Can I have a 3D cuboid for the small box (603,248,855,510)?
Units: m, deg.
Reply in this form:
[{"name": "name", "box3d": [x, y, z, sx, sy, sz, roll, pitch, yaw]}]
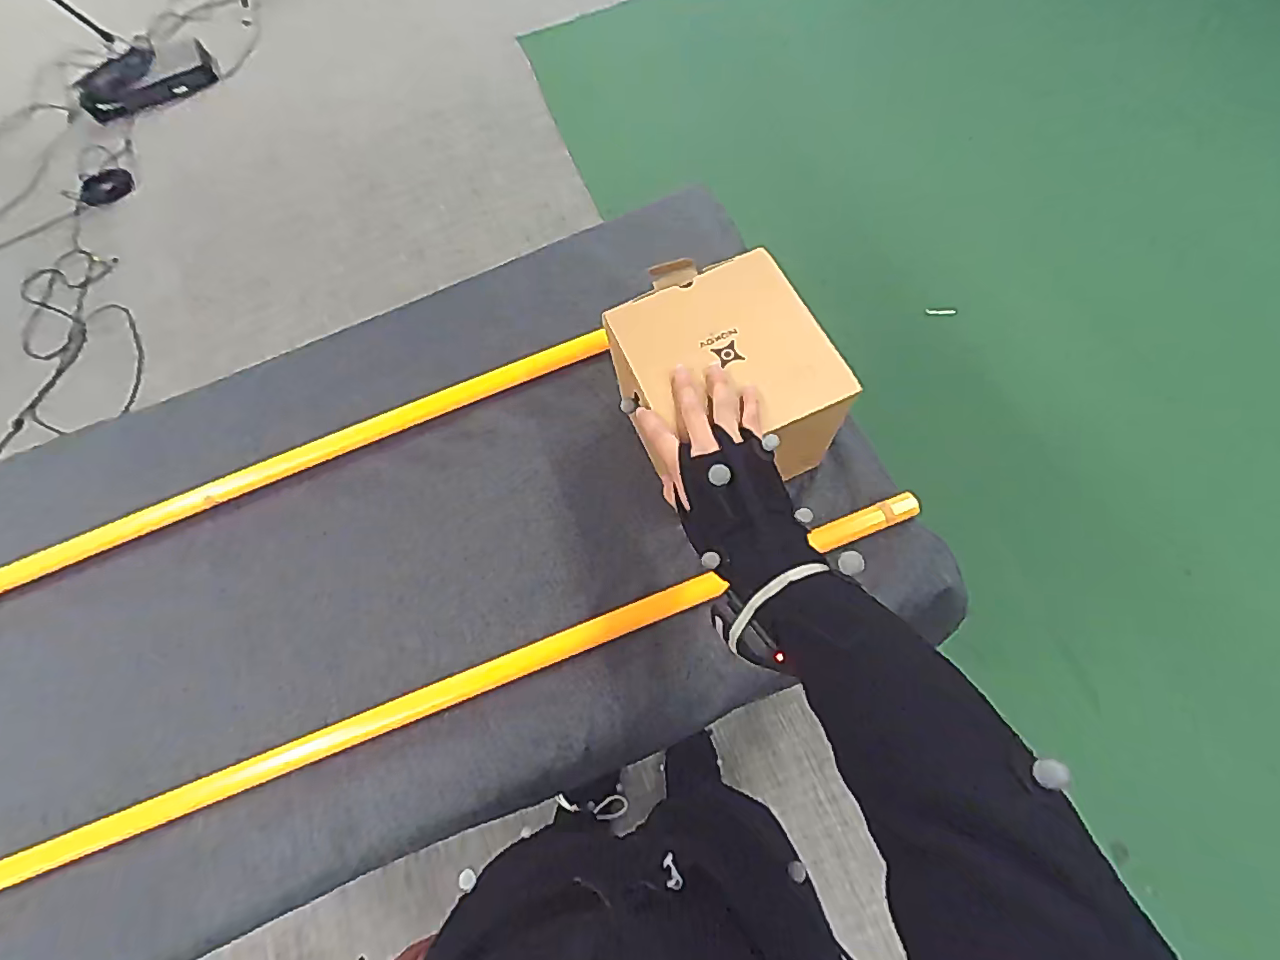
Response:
[{"name": "small box", "box3d": [0.081, -0.085, 0.544, 0.168, 0.176, 0.179, -24, 68, -3]}]
